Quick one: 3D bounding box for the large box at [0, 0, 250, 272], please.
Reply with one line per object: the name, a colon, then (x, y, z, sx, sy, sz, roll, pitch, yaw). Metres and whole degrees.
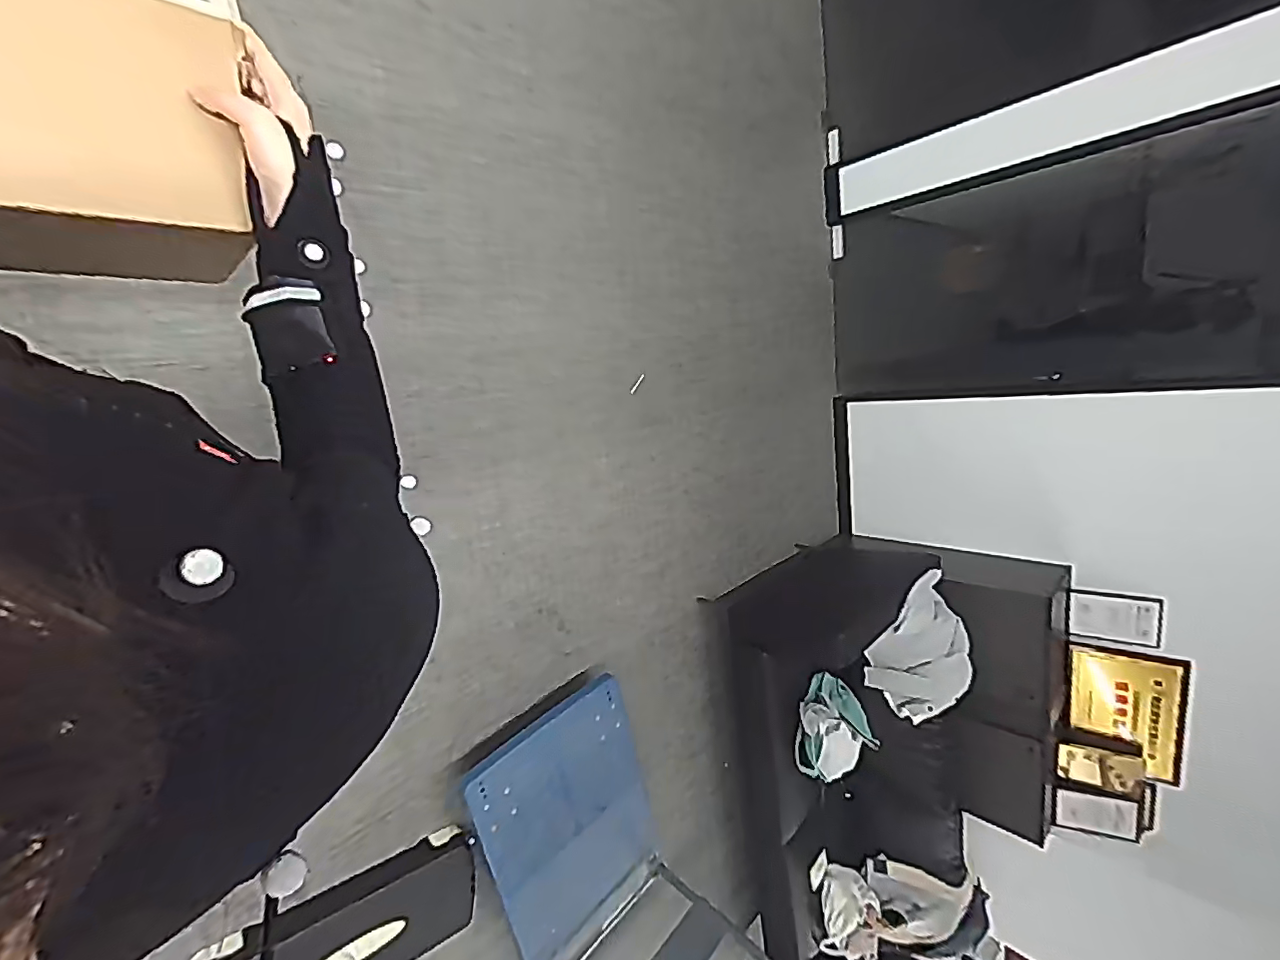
large box: (-0.568, -0.338, 0.392, 0.408, 0.320, 0.320, -13, 106, -39)
